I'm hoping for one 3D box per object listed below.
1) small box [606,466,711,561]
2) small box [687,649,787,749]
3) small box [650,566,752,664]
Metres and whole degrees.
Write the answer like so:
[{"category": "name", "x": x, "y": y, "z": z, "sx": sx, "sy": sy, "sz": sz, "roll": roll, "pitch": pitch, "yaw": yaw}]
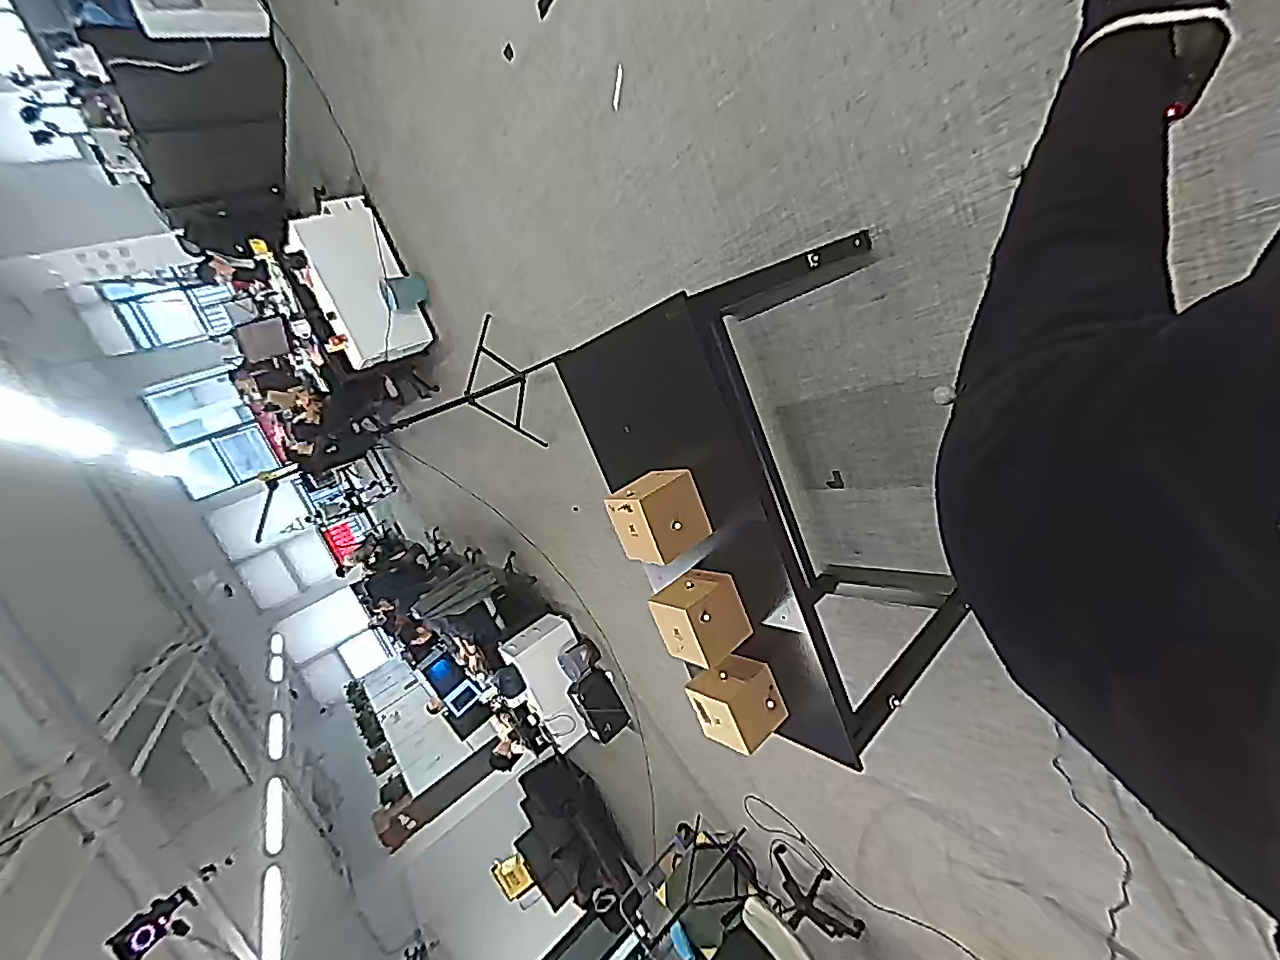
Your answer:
[{"category": "small box", "x": 0.050, "y": 0.079, "z": 1.356, "sx": 0.168, "sy": 0.176, "sz": 0.179, "roll": -1, "pitch": 115, "yaw": 56}, {"category": "small box", "x": 0.265, "y": 0.584, "z": 1.469, "sx": 0.179, "sy": 0.176, "sz": 0.168, "roll": -8, "pitch": 109, "yaw": 57}, {"category": "small box", "x": 0.162, "y": 0.344, "z": 1.415, "sx": 0.168, "sy": 0.176, "sz": 0.179, "roll": -4, "pitch": 112, "yaw": 58}]
